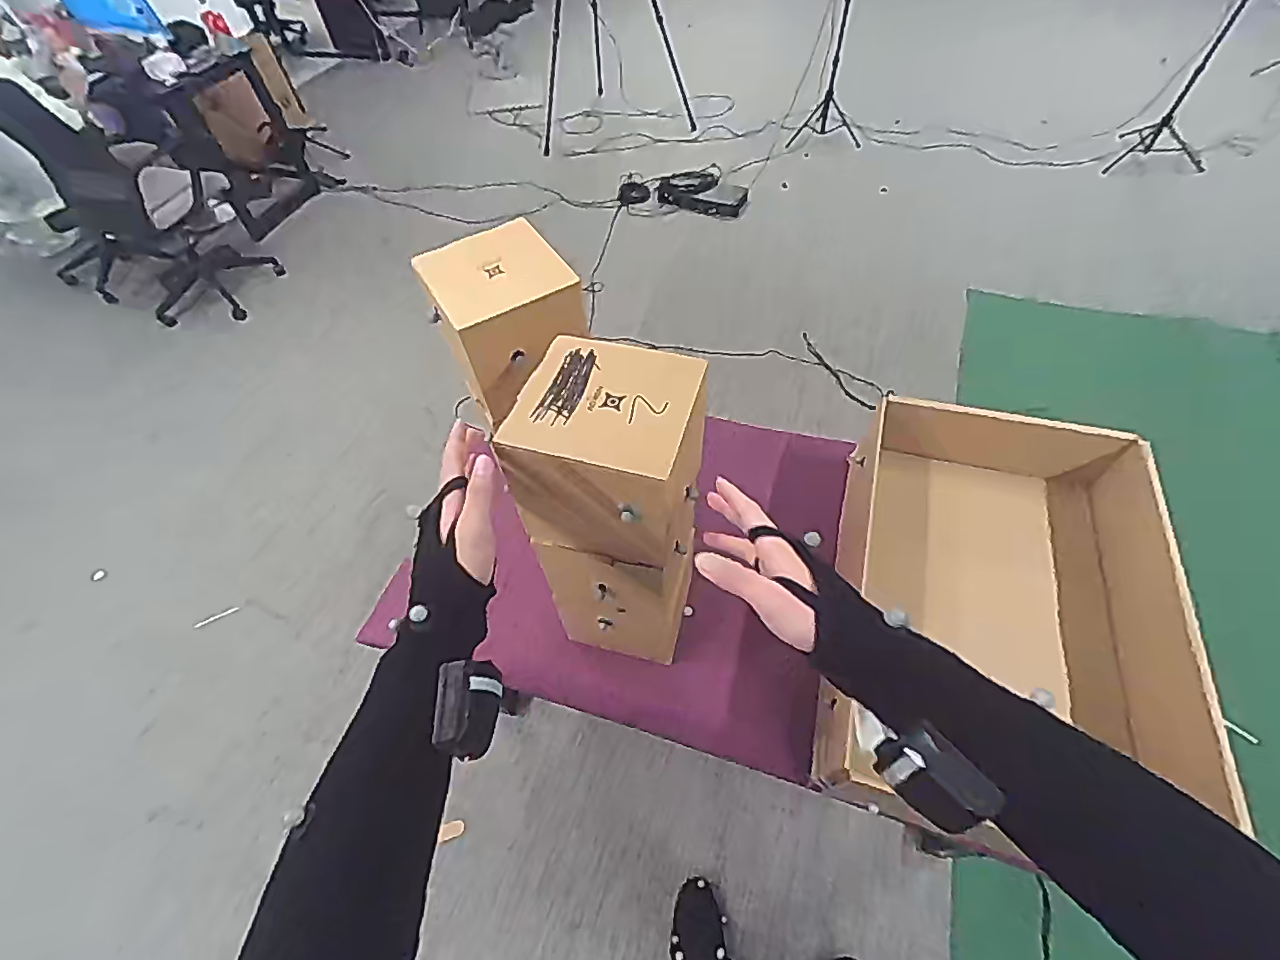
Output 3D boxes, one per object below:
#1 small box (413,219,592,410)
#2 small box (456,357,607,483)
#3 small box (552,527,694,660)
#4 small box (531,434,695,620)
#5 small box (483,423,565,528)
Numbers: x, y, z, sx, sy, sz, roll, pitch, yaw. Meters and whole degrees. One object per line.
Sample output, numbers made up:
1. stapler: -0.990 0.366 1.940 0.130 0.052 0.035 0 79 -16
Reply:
1. small box: -0.180 -0.220 0.750 0.168 0.176 0.179 -28 59 -15
2. small box: -0.168 -0.125 0.880 0.179 0.176 0.168 -26 59 -15
3. small box: -0.018 0.169 0.861 0.179 0.176 0.168 11 55 11
4. small box: -0.025 0.068 0.733 0.168 0.176 0.179 12 56 11
5. small box: -0.167 -0.029 1.012 0.168 0.176 0.179 -26 57 -15
